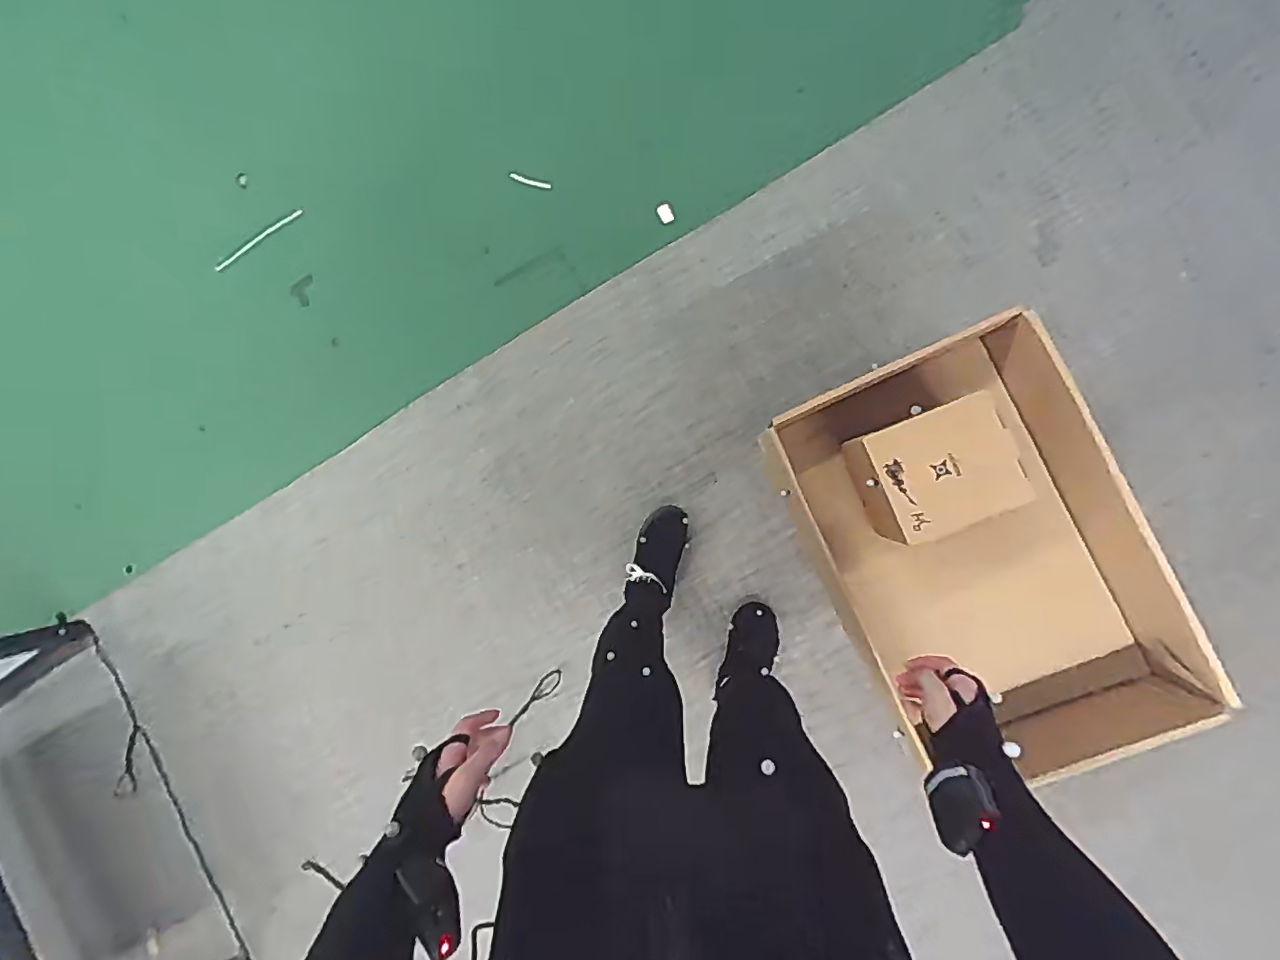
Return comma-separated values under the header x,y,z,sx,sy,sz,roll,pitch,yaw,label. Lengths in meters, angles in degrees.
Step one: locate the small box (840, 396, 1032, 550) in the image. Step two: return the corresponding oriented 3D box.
x,y,z,sx,sy,sz,roll,pitch,yaw,label
0.427,-0.010,0.813,0.179,0.176,0.168,-22,86,8,small box
